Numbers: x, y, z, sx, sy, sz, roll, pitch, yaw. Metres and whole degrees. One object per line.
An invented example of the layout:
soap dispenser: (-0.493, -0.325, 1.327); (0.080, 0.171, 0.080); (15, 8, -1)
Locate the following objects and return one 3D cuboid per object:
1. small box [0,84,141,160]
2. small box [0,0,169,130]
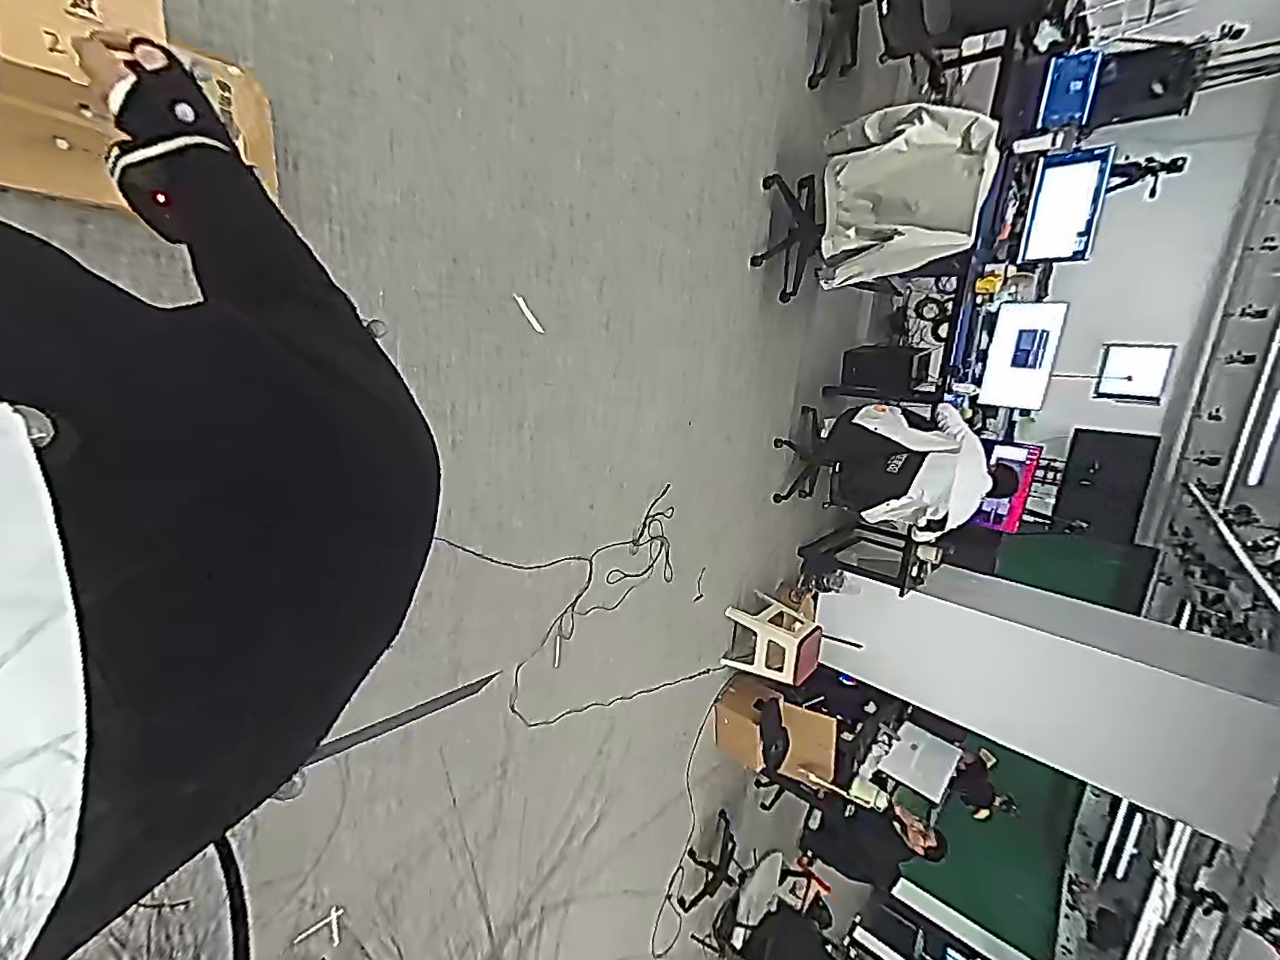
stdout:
small box: (-0.907, -0.636, 0.847); (0.168, 0.176, 0.179); (-4, 105, -48)
small box: (-0.778, -0.619, 0.742); (0.168, 0.176, 0.179); (-11, 109, -47)
